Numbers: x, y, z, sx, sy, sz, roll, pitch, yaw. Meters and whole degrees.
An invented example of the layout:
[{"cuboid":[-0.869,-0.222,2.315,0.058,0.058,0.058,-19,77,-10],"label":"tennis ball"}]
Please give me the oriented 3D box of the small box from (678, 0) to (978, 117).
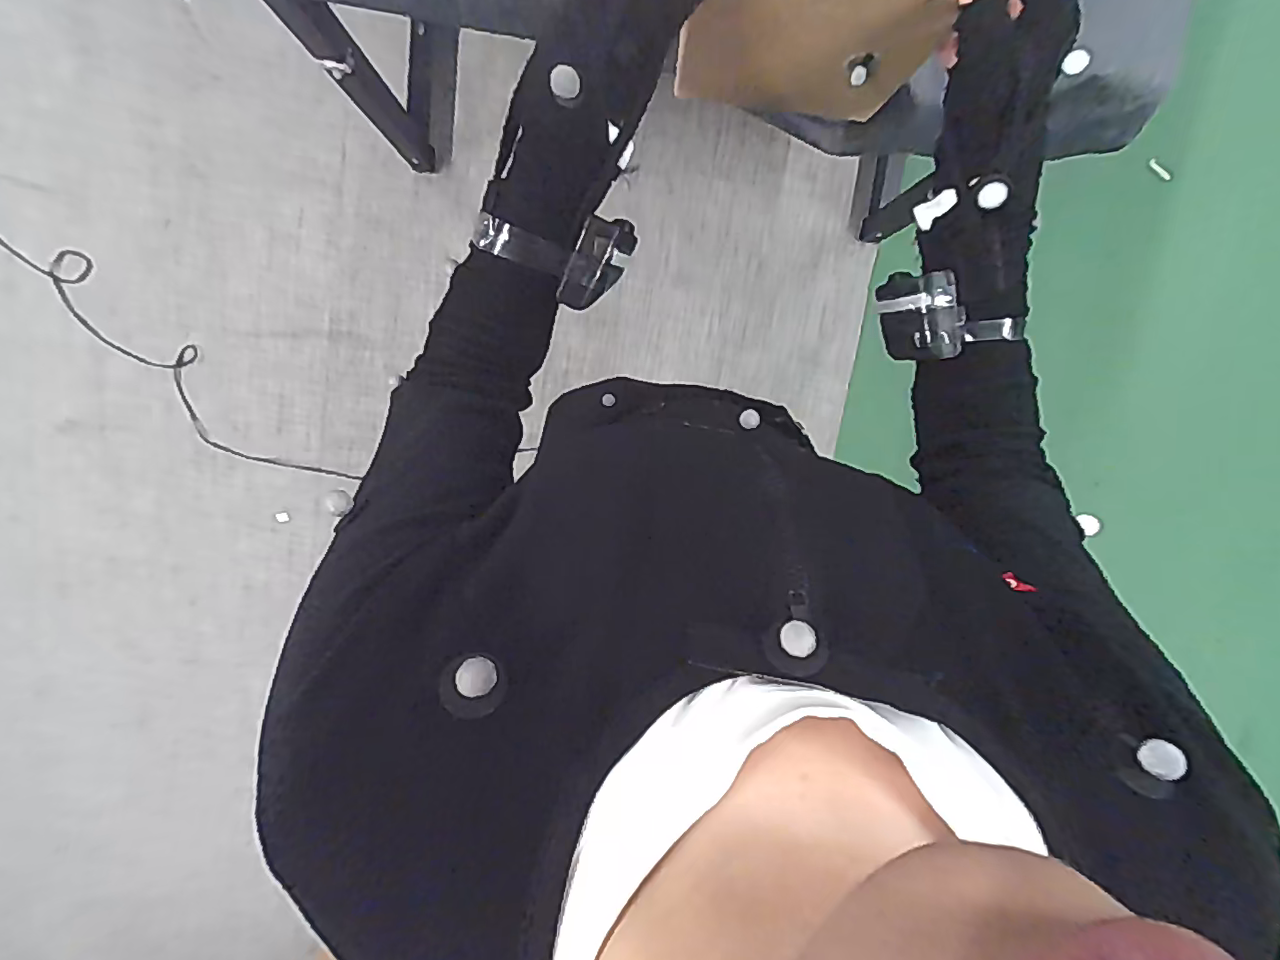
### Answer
[{"cuboid":[0.126,-0.391,0.387,0.179,0.176,0.168,4,101,-1],"label":"small box"}]
